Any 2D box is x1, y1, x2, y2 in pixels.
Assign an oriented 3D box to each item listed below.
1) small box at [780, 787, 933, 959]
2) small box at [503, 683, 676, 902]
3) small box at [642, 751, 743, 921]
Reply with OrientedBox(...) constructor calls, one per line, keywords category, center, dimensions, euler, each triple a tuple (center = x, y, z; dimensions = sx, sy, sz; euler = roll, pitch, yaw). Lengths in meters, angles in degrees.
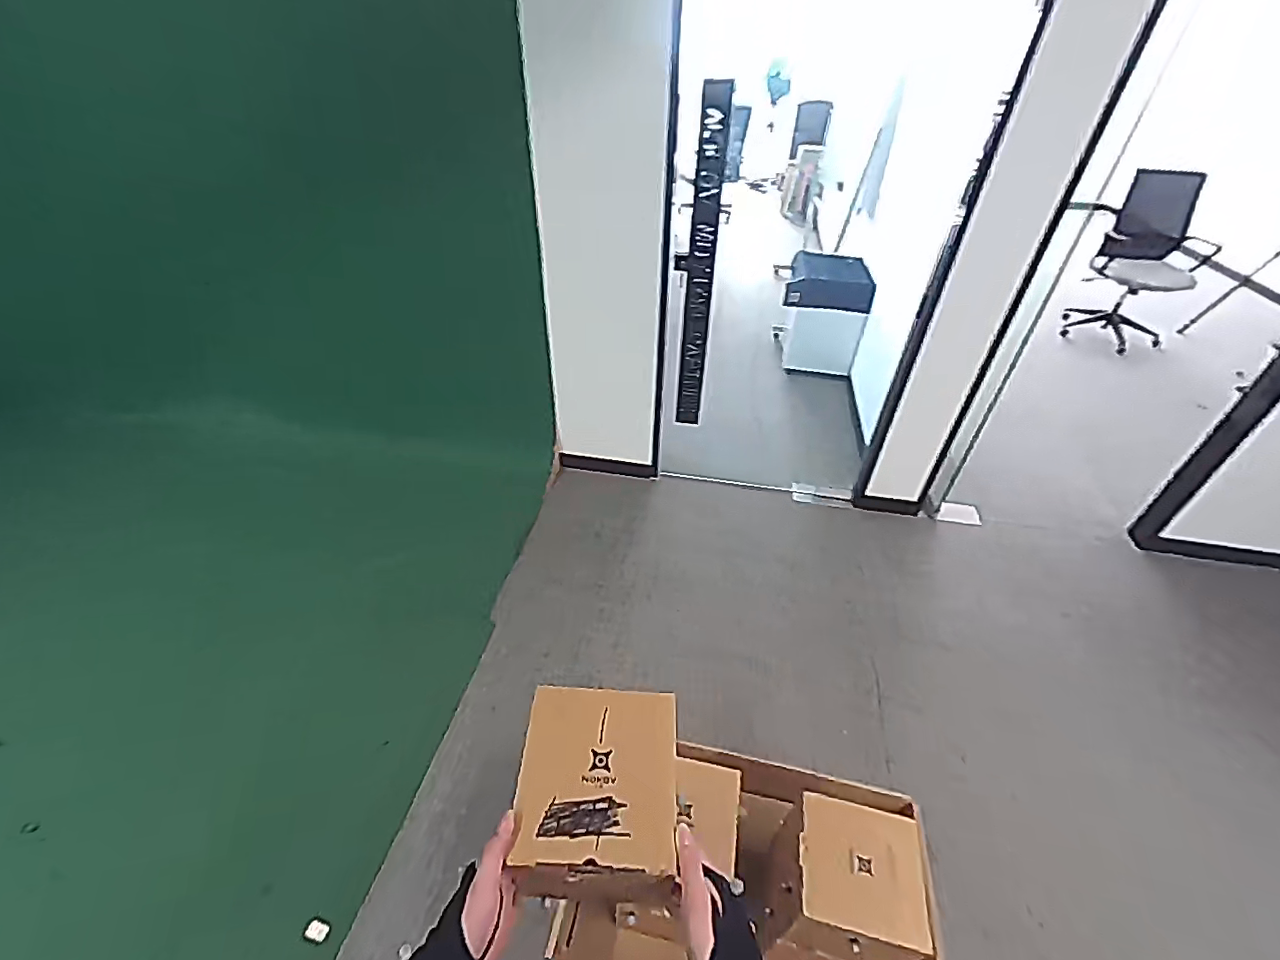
OrientedBox(category="small box", center=(0.321, 0.614, 0.837), dimensions=(0.179, 0.176, 0.168), euler=(12, 42, 9))
OrientedBox(category="small box", center=(-0.048, 0.357, 0.616), dimensions=(0.168, 0.176, 0.179), euler=(4, 42, -1))
OrientedBox(category="small box", center=(0.065, 0.567, 0.873), dimensions=(0.168, 0.176, 0.179), euler=(10, 40, 8))
